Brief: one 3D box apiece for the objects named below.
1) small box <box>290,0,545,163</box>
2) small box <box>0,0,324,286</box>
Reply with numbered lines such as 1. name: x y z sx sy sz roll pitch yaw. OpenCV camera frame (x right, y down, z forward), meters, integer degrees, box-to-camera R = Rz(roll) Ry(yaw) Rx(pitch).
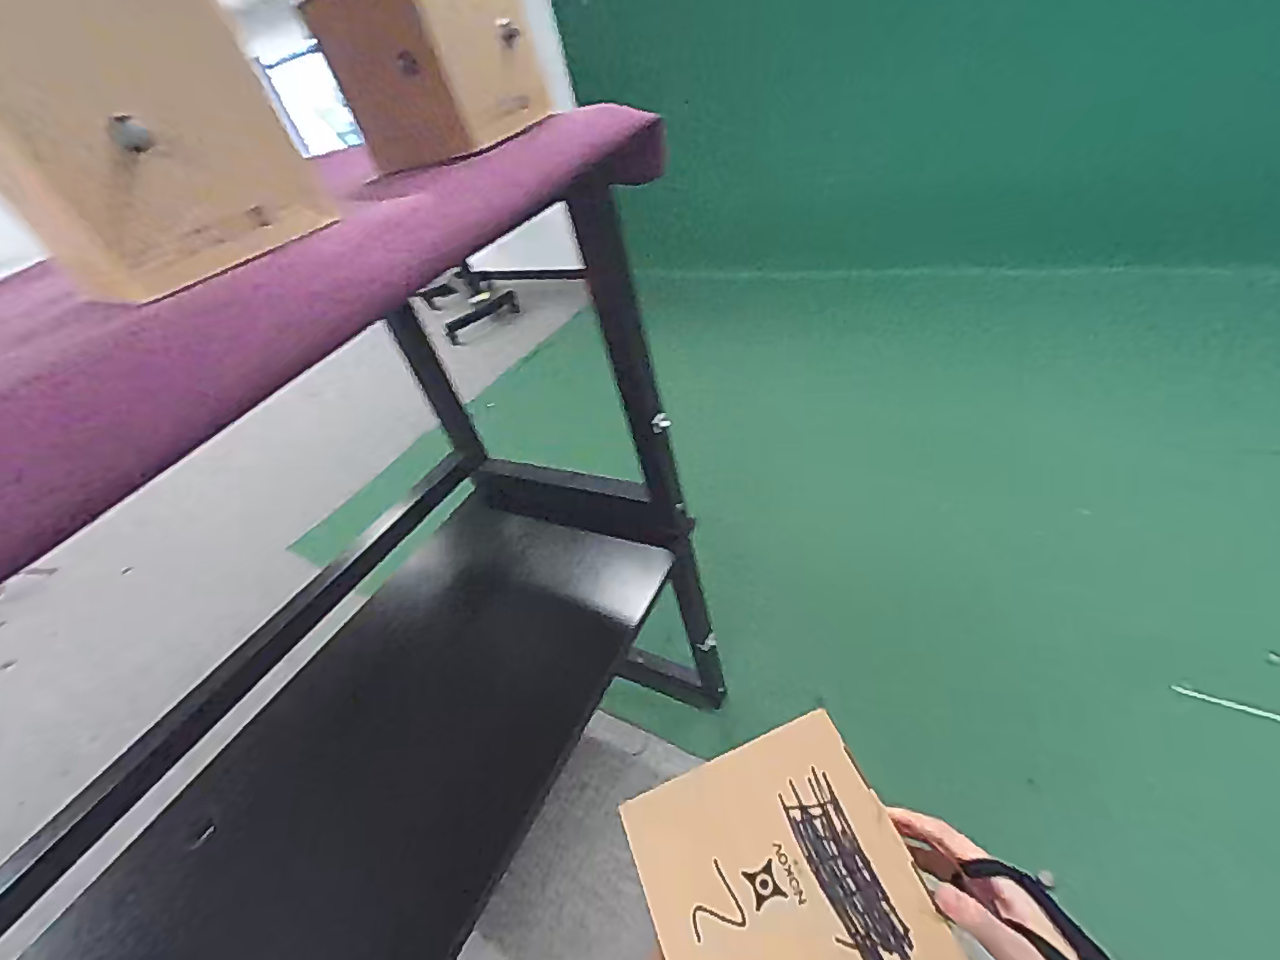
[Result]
1. small box: -0.238 -0.488 0.618 0.179 0.176 0.168 8 46 29
2. small box: -0.388 -0.261 0.411 0.179 0.176 0.168 15 49 34
